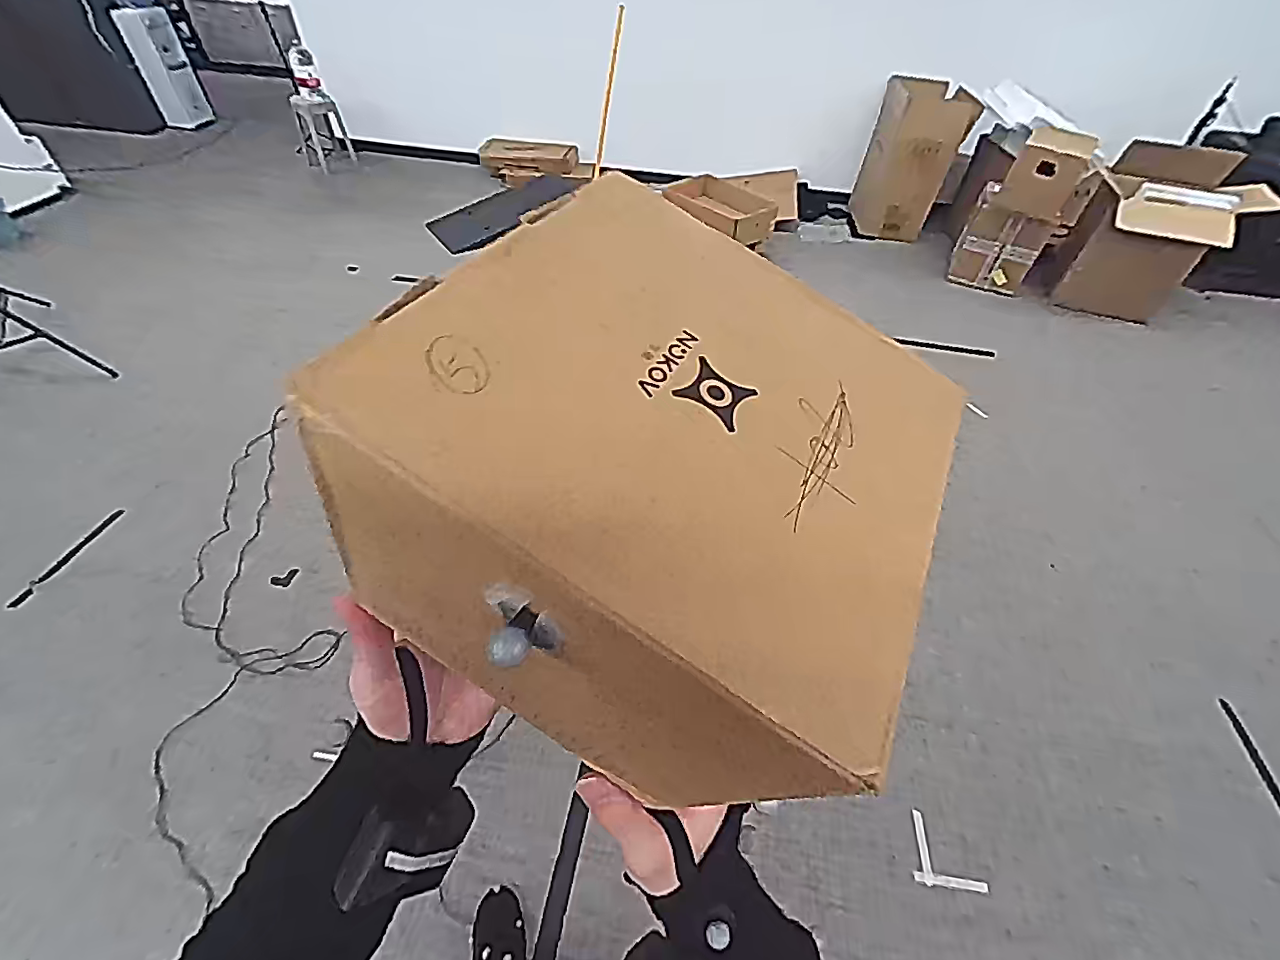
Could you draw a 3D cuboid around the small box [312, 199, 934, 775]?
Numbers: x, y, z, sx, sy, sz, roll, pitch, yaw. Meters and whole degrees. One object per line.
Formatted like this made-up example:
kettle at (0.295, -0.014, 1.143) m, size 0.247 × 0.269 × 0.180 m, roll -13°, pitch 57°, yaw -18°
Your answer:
small box at (-0.006, 0.016, 0.254) m, size 0.179 × 0.176 × 0.168 m, roll 33°, pitch 55°, yaw 2°
